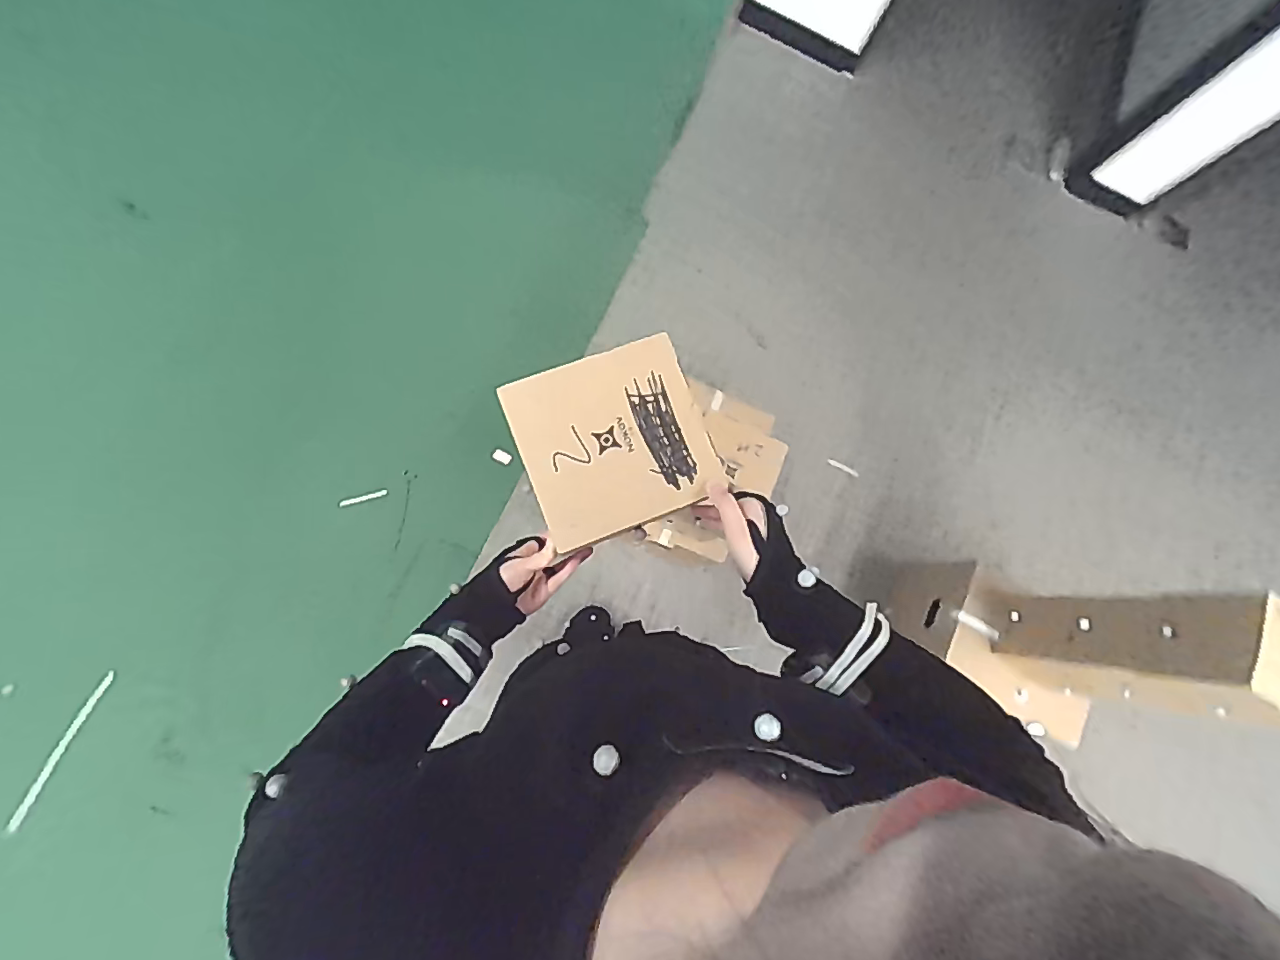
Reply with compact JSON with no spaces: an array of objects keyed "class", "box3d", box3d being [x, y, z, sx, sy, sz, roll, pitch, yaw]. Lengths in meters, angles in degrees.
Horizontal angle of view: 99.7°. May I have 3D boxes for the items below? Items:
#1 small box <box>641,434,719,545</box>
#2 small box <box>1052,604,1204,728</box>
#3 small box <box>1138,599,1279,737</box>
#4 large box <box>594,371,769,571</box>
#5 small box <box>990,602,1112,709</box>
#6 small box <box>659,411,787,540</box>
[{"class":"small box","box3d":[0.112,0.030,1.187,0.168,0.176,0.179,26,74,-4]},{"class":"small box","box3d":[1.003,0.366,1.100,0.179,0.176,0.168,34,73,-1]},{"class":"small box","box3d":[1.033,0.326,0.944,0.168,0.176,0.179,34,74,-2]},{"class":"large box","box3d":[0.095,-0.003,1.443,0.320,0.320,0.408,24,75,-4]},{"class":"small box","box3d":[0.974,0.398,1.259,0.179,0.176,0.168,34,73,-1]},{"class":"small box","box3d":[0.146,0.002,1.027,0.168,0.176,0.179,26,75,-4]}]
